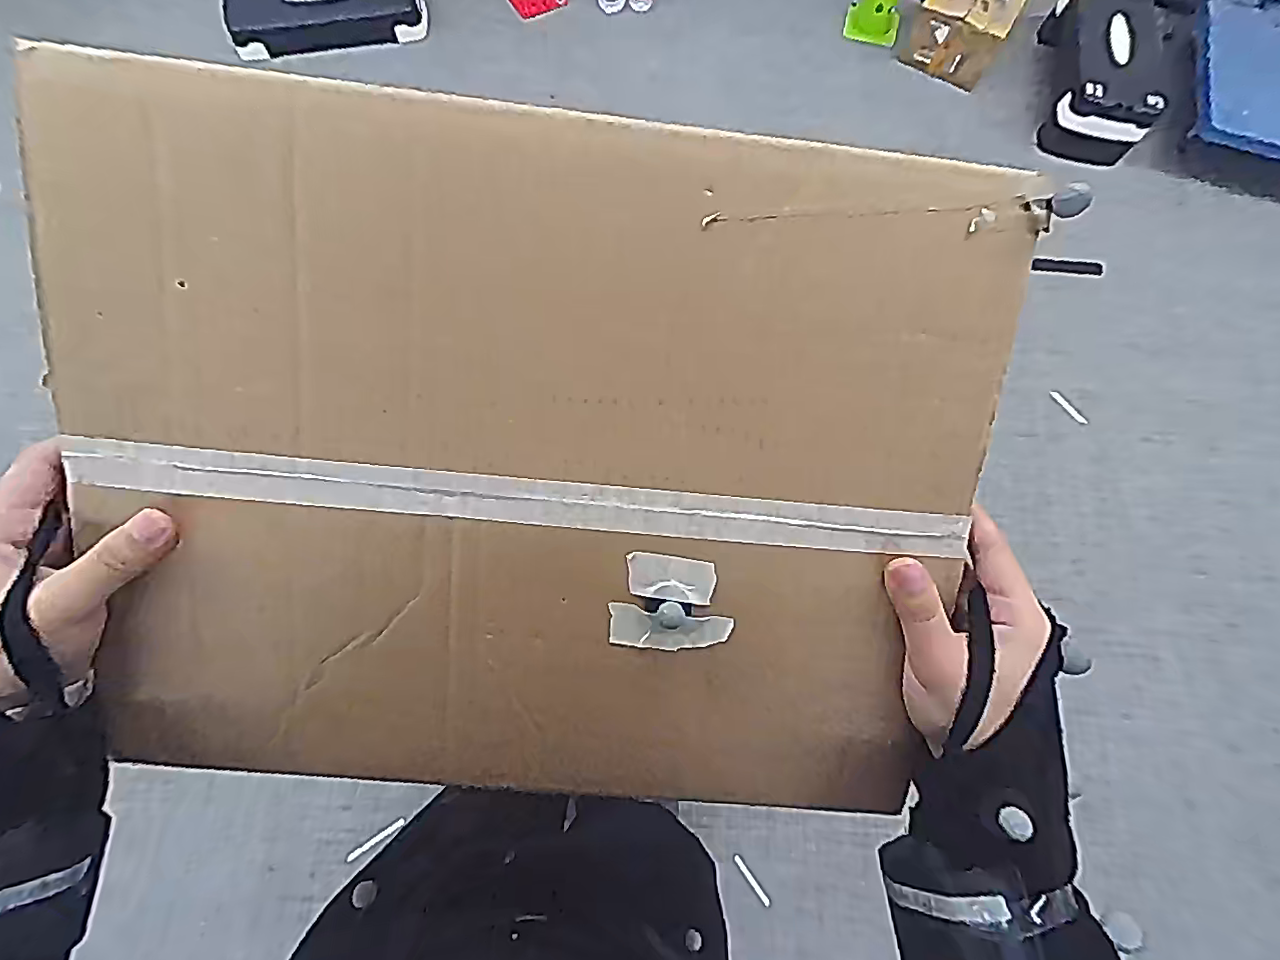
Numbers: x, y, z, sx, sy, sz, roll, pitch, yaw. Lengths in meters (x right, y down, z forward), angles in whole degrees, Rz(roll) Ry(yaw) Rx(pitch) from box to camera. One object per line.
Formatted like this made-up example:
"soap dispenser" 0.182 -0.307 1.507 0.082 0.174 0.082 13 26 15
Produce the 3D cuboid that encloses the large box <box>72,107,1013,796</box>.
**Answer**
"large box" -0.052 -0.018 0.403 0.408 0.320 0.320 5 103 -4
